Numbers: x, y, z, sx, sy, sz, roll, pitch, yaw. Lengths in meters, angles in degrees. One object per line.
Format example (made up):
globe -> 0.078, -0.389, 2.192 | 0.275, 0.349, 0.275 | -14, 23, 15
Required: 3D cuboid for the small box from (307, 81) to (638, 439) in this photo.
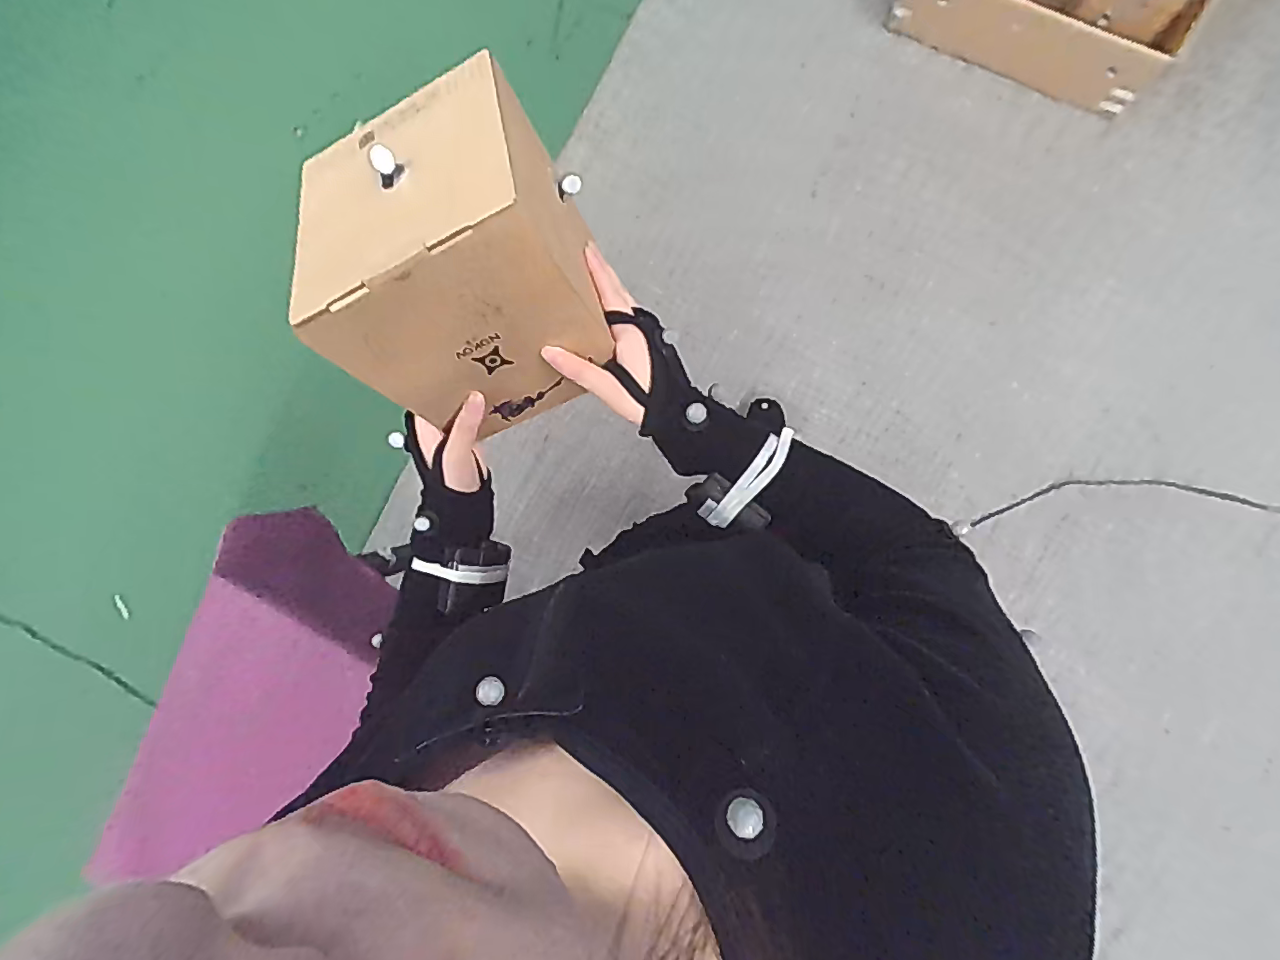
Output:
small box -> -0.120, -0.165, 0.423 | 0.168, 0.179, 0.176 | -19, 62, 13
